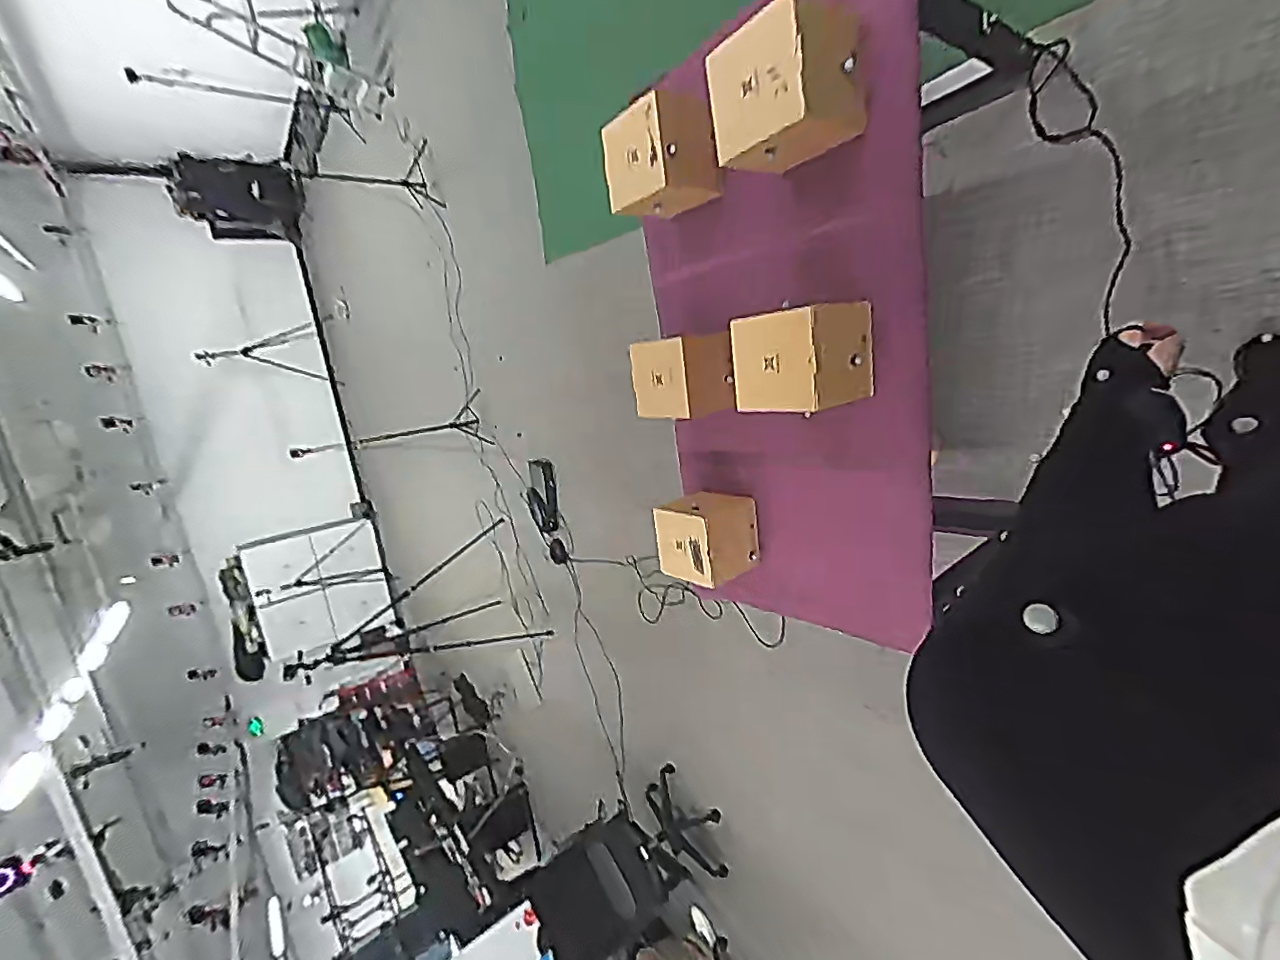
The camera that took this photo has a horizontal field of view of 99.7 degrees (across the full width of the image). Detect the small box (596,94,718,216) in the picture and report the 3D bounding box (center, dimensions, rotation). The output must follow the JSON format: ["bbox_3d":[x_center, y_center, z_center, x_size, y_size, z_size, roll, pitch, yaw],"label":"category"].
[{"bbox_3d":[0.037,-0.653,1.112,0.179,0.176,0.168,7,111,51],"label":"small box"}]

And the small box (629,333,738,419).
[{"bbox_3d":[0.100,-0.234,1.216,0.179,0.176,0.168,9,113,49],"label":"small box"}]

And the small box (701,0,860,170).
[{"bbox_3d":[0.227,-0.622,0.875,0.179,0.176,0.168,5,110,52],"label":"small box"}]

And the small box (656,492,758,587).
[{"bbox_3d":[0.165,0.132,1.284,0.179,0.176,0.168,7,110,50],"label":"small box"}]

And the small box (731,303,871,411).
[{"bbox_3d":[0.291,-0.219,0.974,0.179,0.176,0.168,8,111,51],"label":"small box"}]
